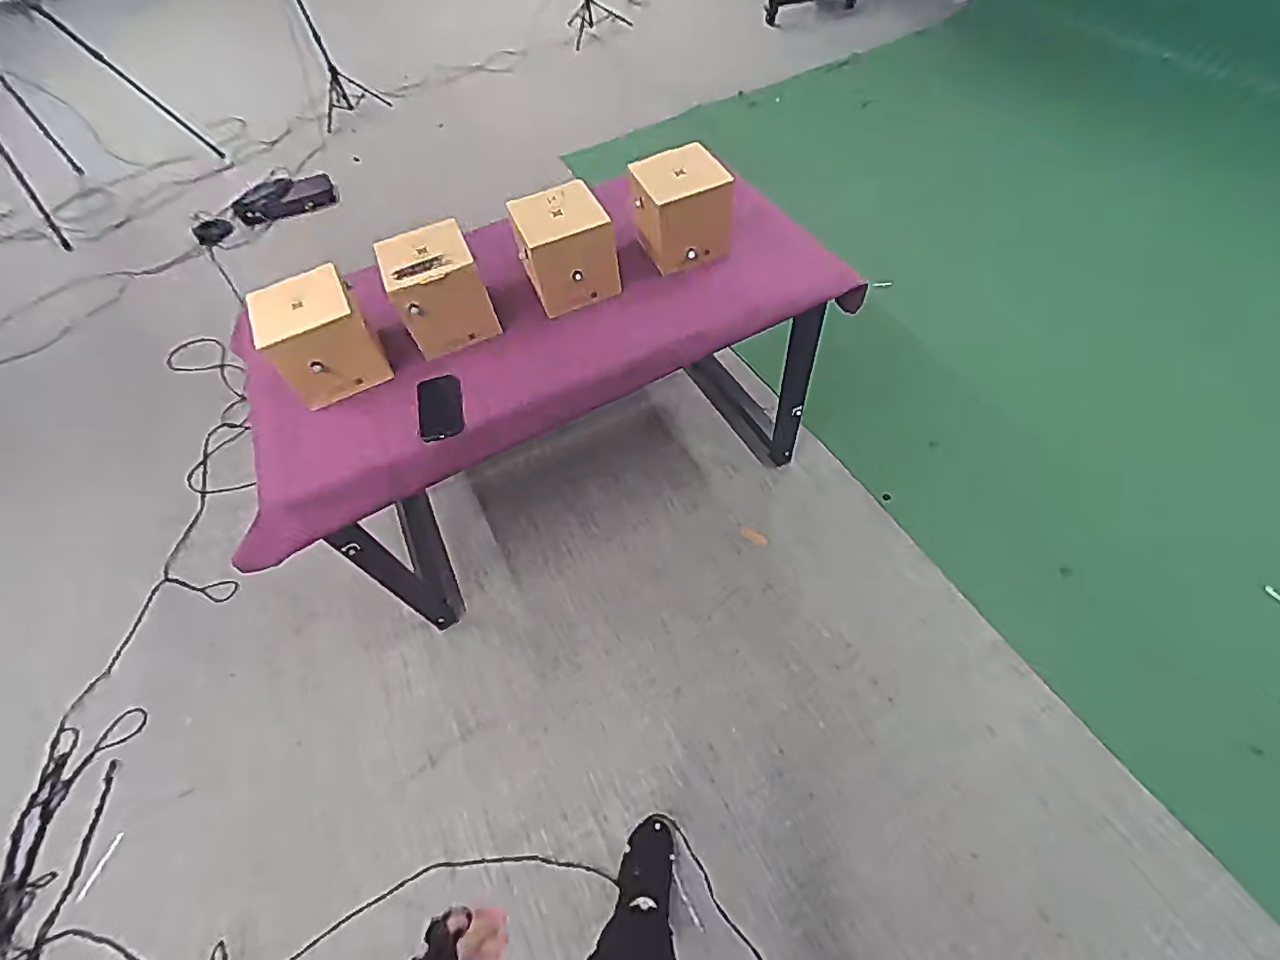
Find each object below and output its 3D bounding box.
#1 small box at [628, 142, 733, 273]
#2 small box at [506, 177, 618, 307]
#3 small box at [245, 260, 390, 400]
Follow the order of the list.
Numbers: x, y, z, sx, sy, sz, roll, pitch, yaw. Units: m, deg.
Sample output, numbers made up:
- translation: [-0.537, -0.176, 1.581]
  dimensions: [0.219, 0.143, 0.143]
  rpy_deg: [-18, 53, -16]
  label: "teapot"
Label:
- translation: [0.084, -0.577, 1.151]
  dimensions: [0.168, 0.176, 0.179]
  rpy_deg: [-21, 58, -7]
  label: "small box"
- translation: [-0.154, -0.479, 1.111]
  dimensions: [0.168, 0.176, 0.179]
  rpy_deg: [-22, 57, -9]
  label: "small box"
- translation: [-0.605, -0.276, 1.030]
  dimensions: [0.168, 0.176, 0.179]
  rpy_deg: [-27, 58, -11]
  label: "small box"
